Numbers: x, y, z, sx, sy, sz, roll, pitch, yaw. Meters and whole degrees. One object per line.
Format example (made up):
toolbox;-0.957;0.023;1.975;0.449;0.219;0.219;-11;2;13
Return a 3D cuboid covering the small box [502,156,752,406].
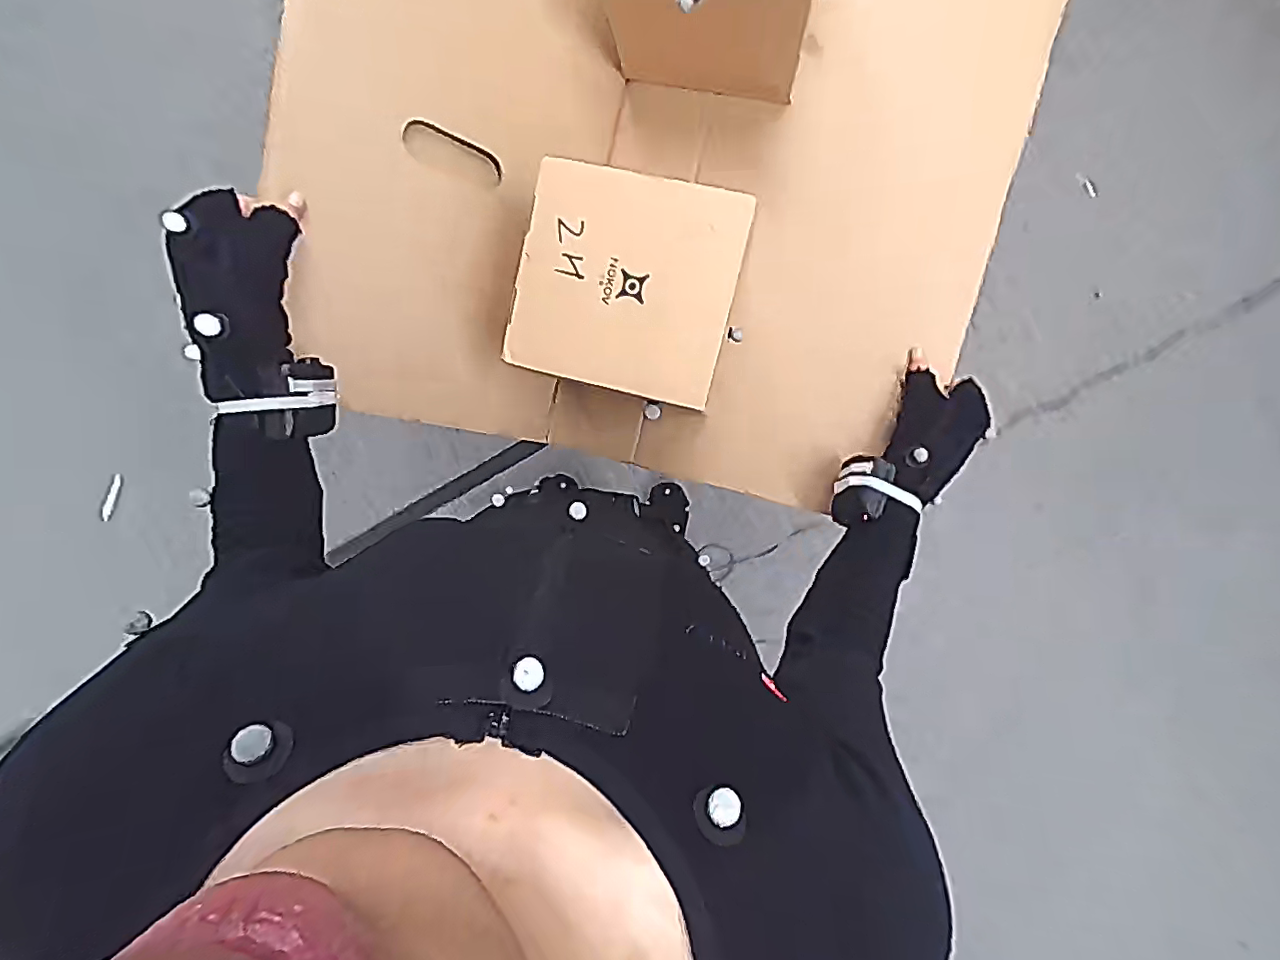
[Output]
small box;-0.003;-0.169;0.513;0.179;0.176;0.168;15;98;7

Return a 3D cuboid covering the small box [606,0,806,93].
small box;0.066;-0.477;0.471;0.179;0.176;0.168;13;97;6
